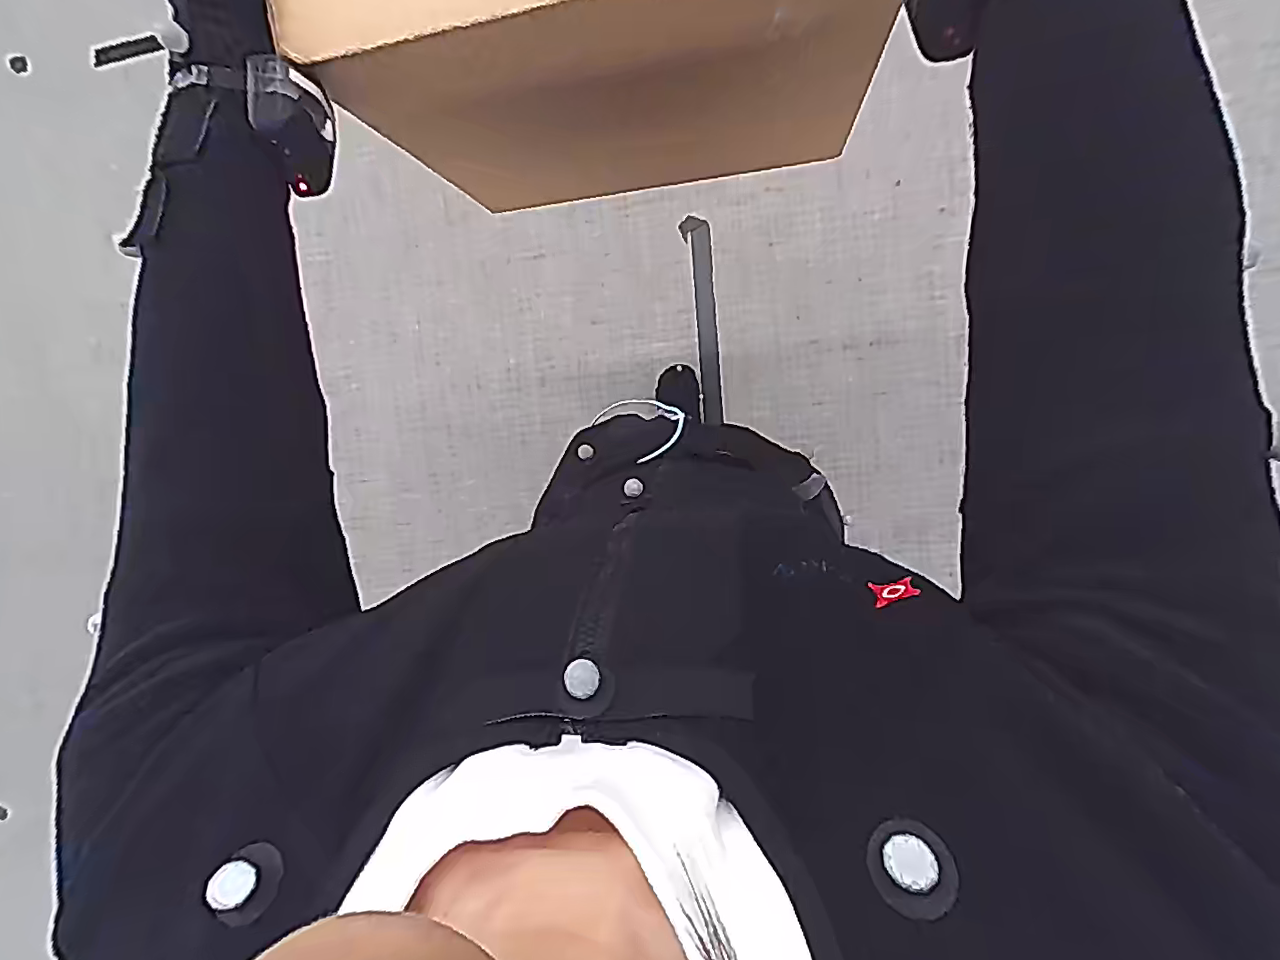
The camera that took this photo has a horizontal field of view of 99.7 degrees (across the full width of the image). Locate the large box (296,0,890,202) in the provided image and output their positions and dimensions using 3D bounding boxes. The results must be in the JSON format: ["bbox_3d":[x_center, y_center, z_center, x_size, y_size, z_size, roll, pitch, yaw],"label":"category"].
[{"bbox_3d":[-0.023,-0.474,0.452,0.408,0.320,0.320,-4,99,10],"label":"large box"}]
